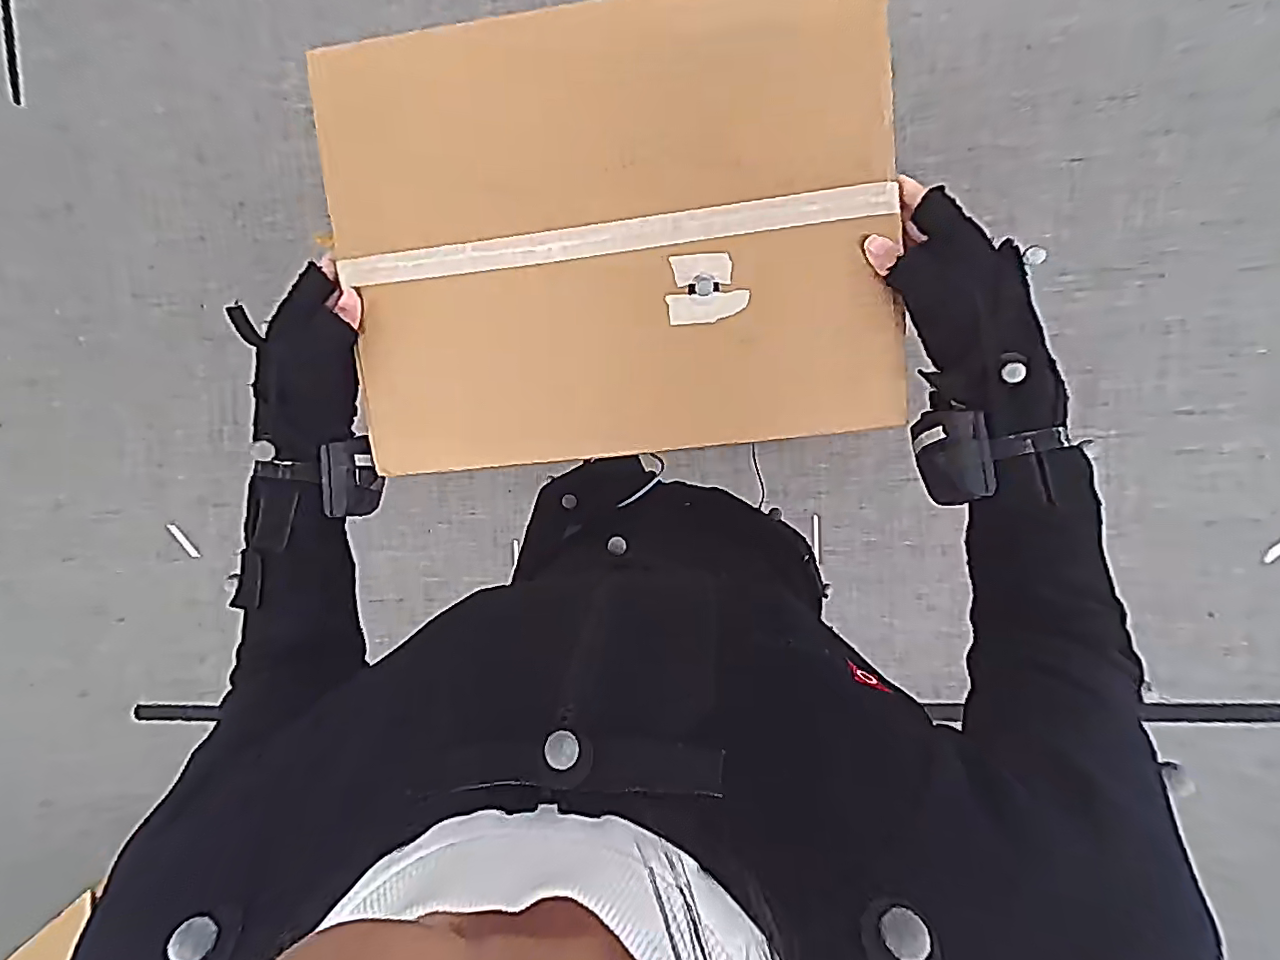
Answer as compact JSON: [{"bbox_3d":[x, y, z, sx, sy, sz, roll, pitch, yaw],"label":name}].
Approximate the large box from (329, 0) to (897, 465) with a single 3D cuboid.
[{"bbox_3d":[-0.012,-0.203,0.551,0.408,0.320,0.320,-6,98,4],"label":"large box"}]
